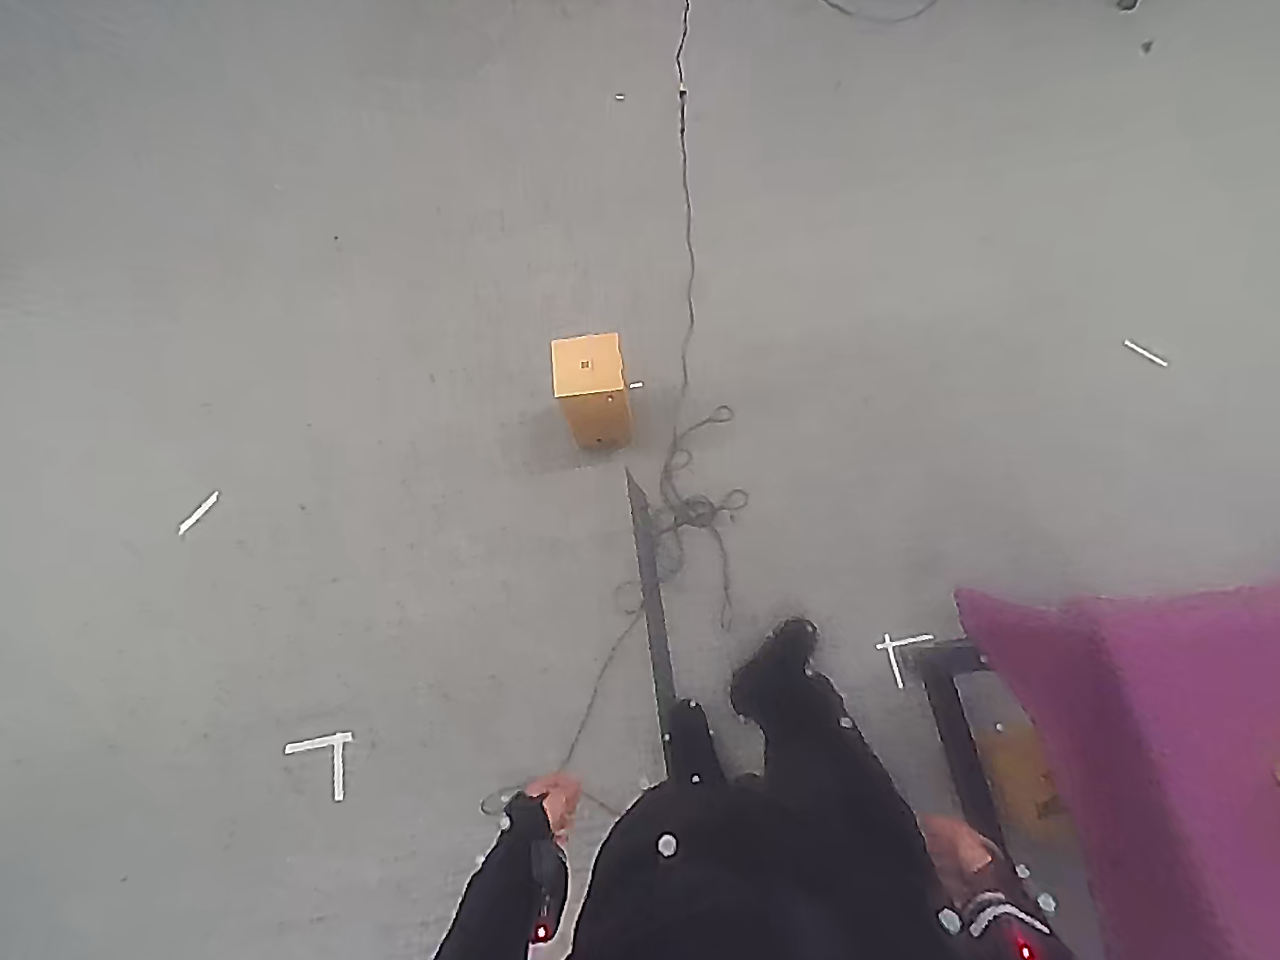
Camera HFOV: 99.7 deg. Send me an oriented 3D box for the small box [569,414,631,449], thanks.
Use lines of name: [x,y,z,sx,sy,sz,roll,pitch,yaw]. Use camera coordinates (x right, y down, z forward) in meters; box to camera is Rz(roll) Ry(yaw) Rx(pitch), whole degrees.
small box: [-0.119,-0.208,1.582,0.168,0.176,0.179,-9,72,1]

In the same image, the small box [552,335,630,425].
small box: [-0.127,-0.258,1.428,0.179,0.176,0.168,-7,71,1]
